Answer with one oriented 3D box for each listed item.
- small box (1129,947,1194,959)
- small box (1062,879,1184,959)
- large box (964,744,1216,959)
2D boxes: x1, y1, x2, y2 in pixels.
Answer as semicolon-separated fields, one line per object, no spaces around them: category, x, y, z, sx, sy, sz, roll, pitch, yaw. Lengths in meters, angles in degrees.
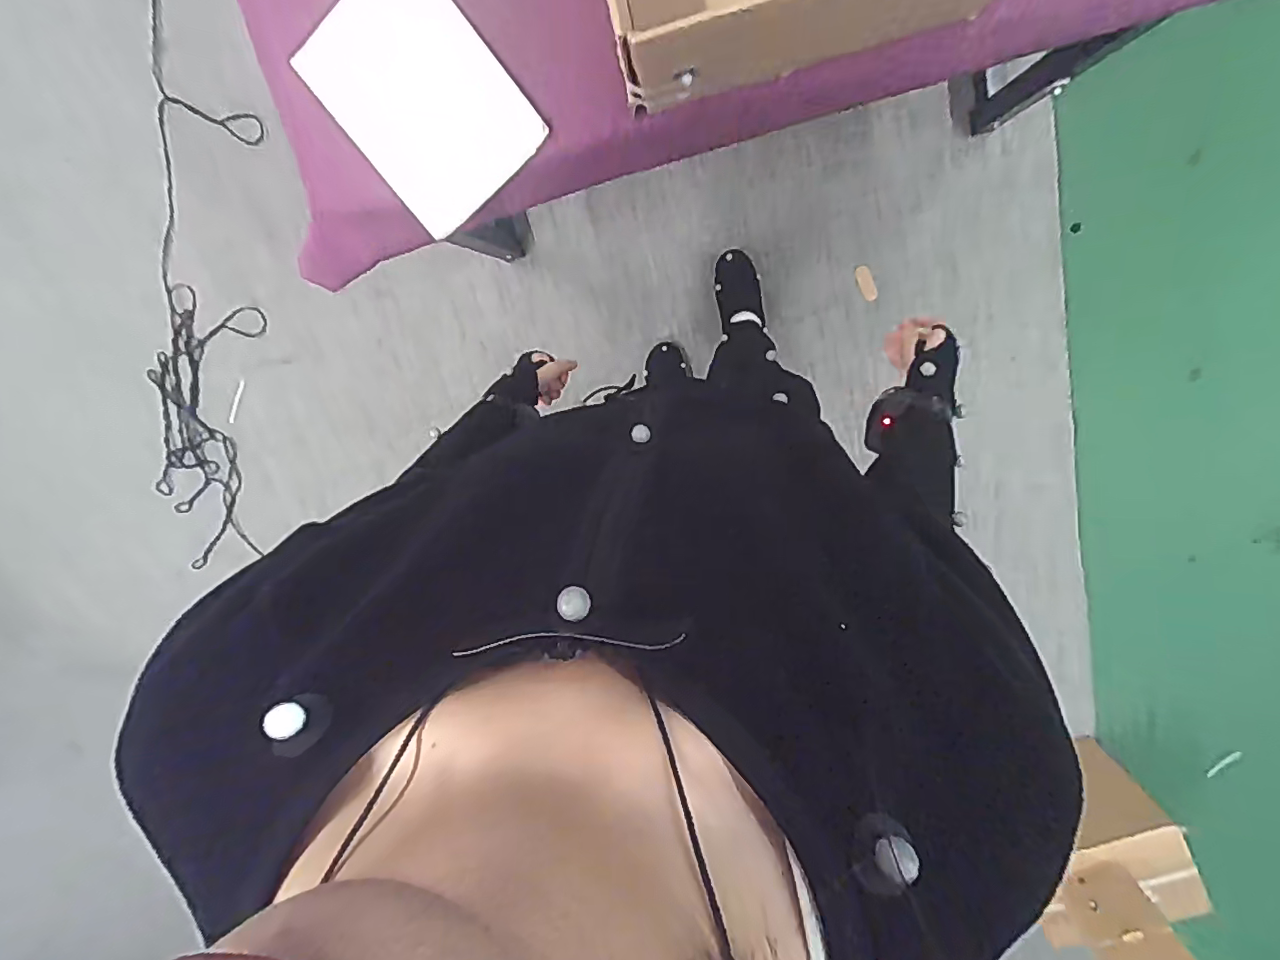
small box;1.151;1.151;1.143;0.179;0.176;0.168;-28;100;12
small box;1.168;1.104;1.299;0.168;0.176;0.179;-26;101;12
large box;1.234;1.034;1.527;0.408;0.320;0.320;-27;102;11
